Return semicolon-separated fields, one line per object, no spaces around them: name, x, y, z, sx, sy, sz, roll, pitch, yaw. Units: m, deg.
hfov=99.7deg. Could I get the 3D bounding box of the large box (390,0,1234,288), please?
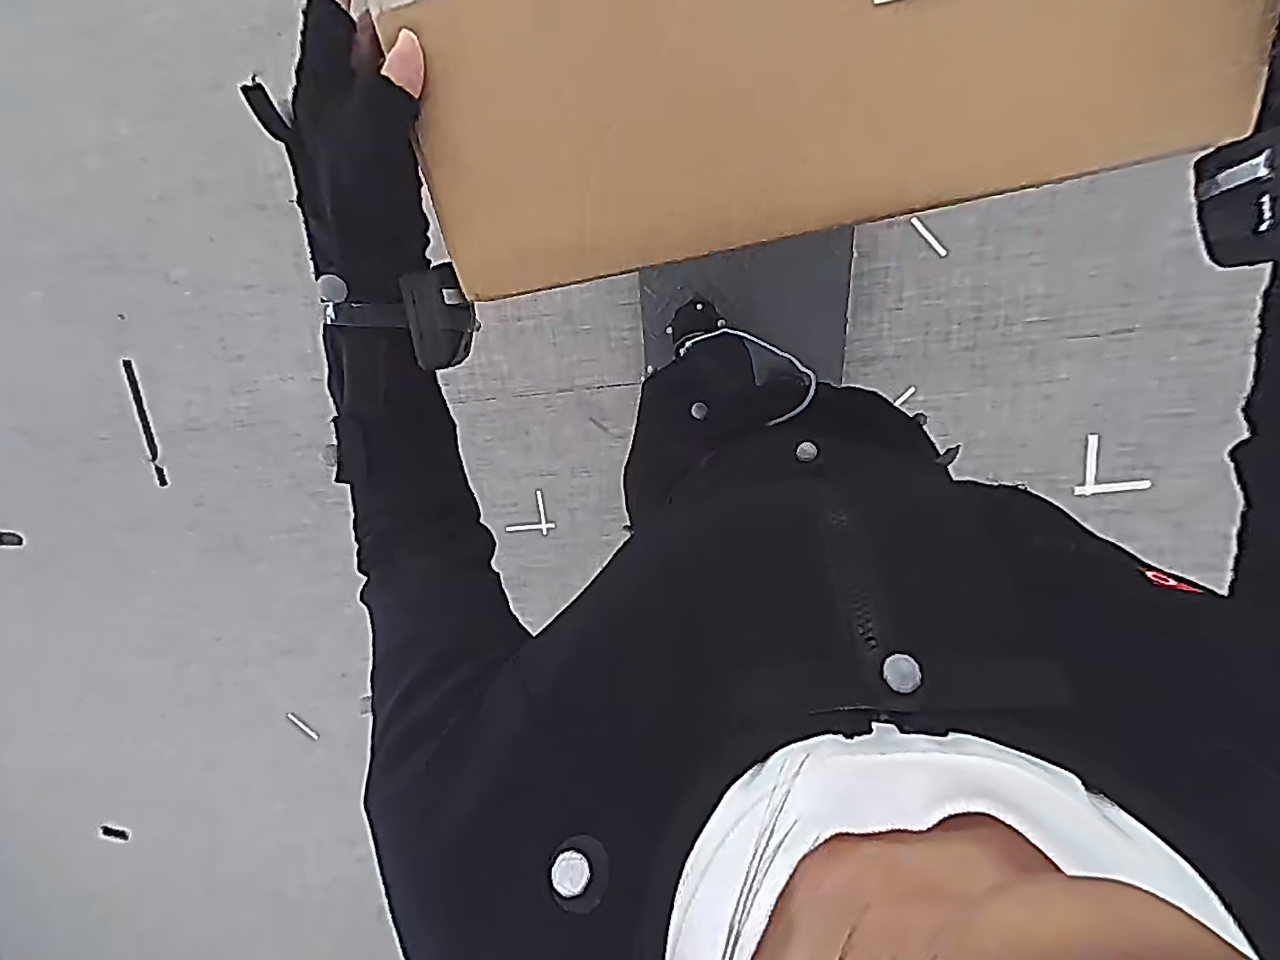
large box;0.075;-0.348;0.380;0.408;0.320;0.320;-8;114;11
